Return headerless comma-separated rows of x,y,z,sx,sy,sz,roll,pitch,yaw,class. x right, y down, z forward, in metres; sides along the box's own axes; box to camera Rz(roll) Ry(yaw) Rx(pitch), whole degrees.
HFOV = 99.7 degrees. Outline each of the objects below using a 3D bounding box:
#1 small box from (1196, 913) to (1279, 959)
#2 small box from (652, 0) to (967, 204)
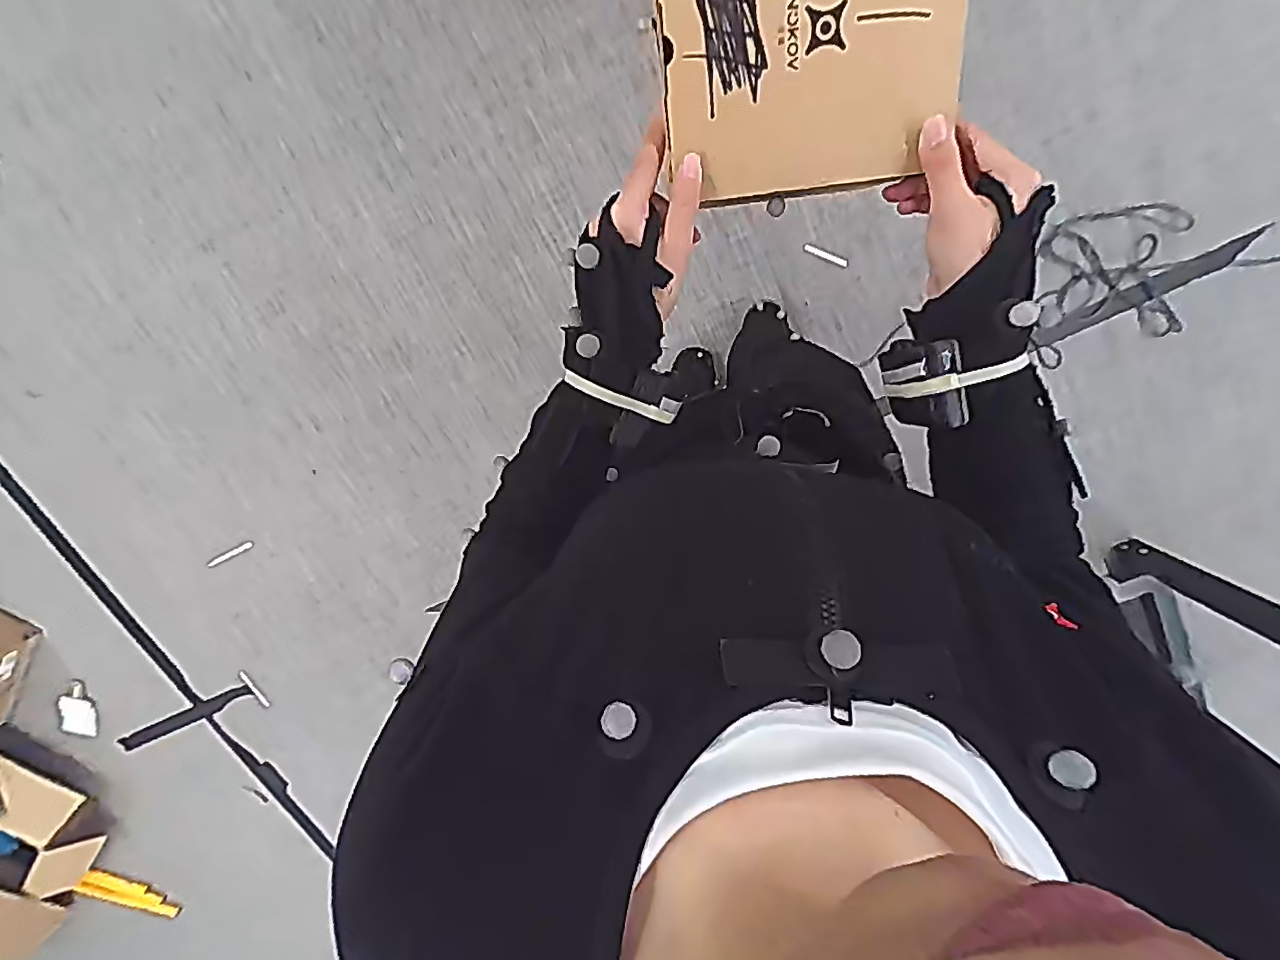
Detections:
0.922,0.738,0.734,0.179,0.176,0.168,-29,104,10,small box
0.099,-0.297,0.379,0.179,0.176,0.168,-5,115,4,small box
